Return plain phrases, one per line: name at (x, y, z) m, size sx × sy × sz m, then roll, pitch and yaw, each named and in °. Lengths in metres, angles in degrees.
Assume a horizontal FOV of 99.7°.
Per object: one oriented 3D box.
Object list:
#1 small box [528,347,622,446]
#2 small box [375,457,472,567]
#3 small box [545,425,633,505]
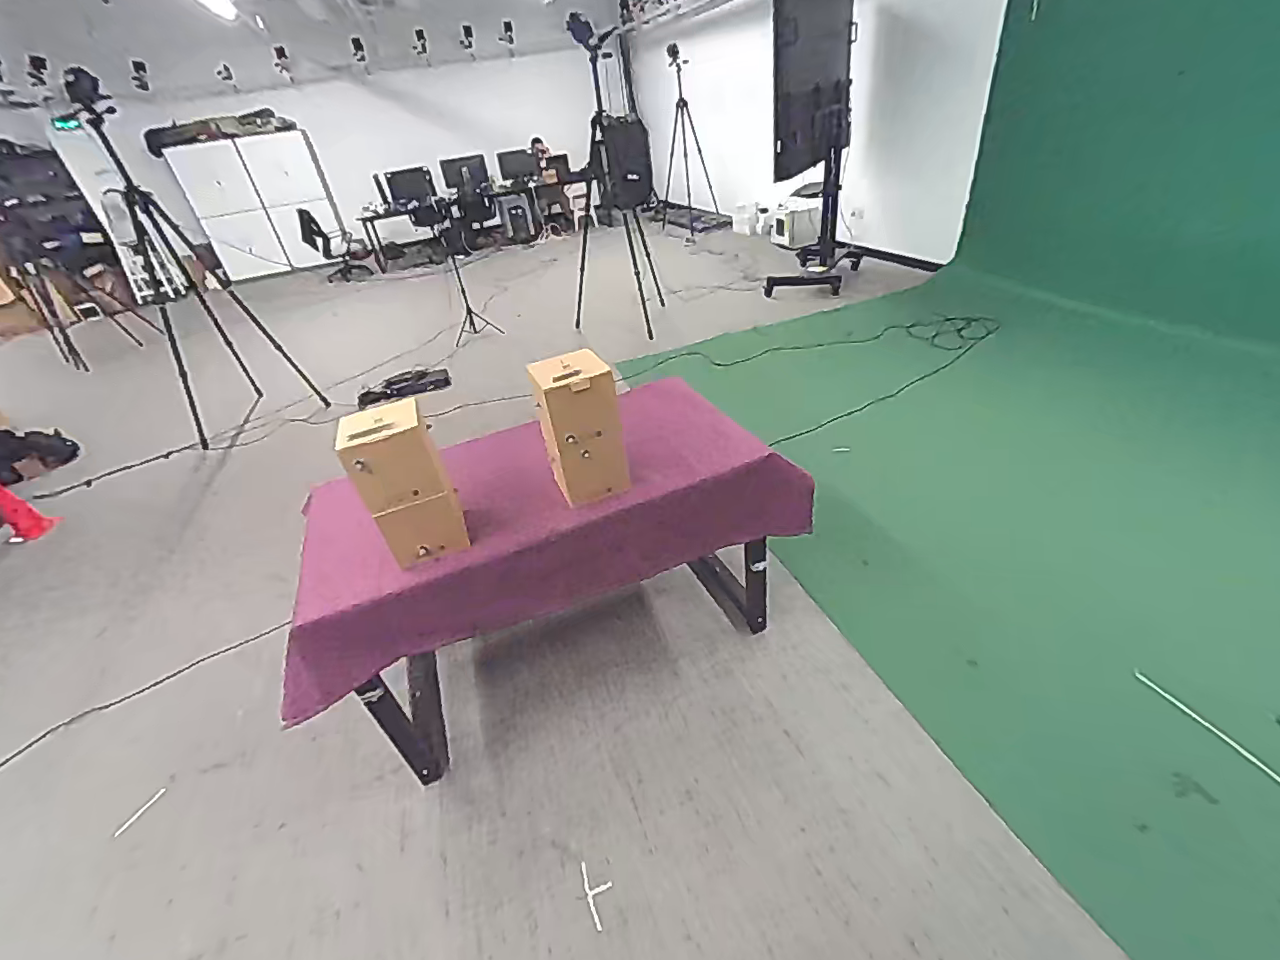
small box at (-0.154, -0.198, 1.308) m, size 0.168 × 0.176 × 0.179 m, roll -20°, pitch 36°, yaw -15°
small box at (-0.516, 0.075, 1.295) m, size 0.168 × 0.176 × 0.179 m, roll -19°, pitch 37°, yaw -13°
small box at (-0.133, -0.063, 1.401) m, size 0.168 × 0.176 × 0.179 m, roll -21°, pitch 36°, yaw -14°
